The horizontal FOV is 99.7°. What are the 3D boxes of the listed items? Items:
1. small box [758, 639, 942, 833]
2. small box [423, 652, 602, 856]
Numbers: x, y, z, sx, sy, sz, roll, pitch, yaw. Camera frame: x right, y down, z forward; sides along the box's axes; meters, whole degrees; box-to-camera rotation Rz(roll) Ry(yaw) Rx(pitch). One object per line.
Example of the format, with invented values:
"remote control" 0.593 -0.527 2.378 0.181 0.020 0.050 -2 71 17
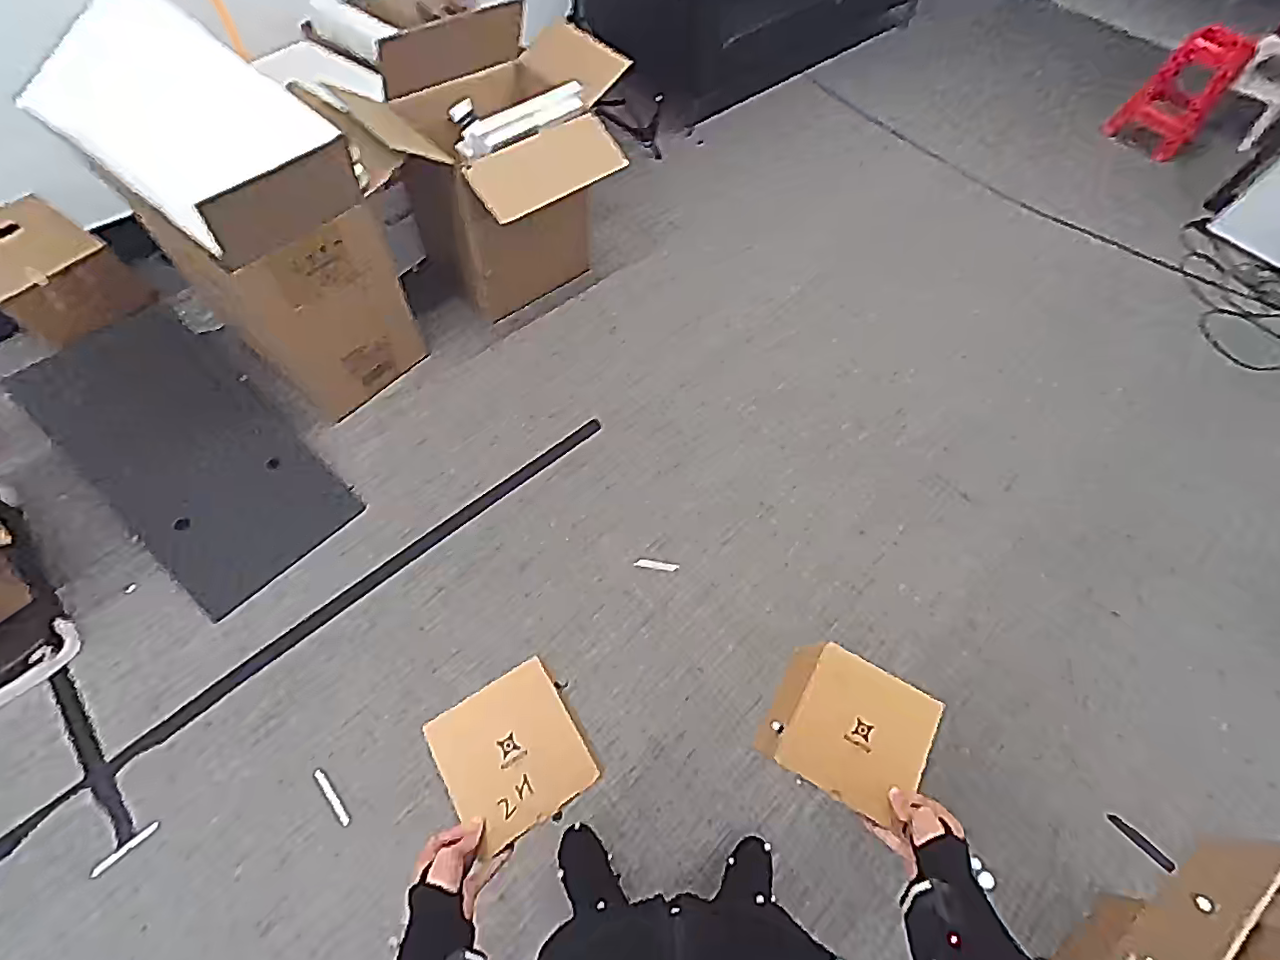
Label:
"small box" 0.284 0.349 0.769 0.168 0.176 0.179 28 73 11
"small box" -0.165 0.366 0.742 0.168 0.176 0.179 -29 70 -14
